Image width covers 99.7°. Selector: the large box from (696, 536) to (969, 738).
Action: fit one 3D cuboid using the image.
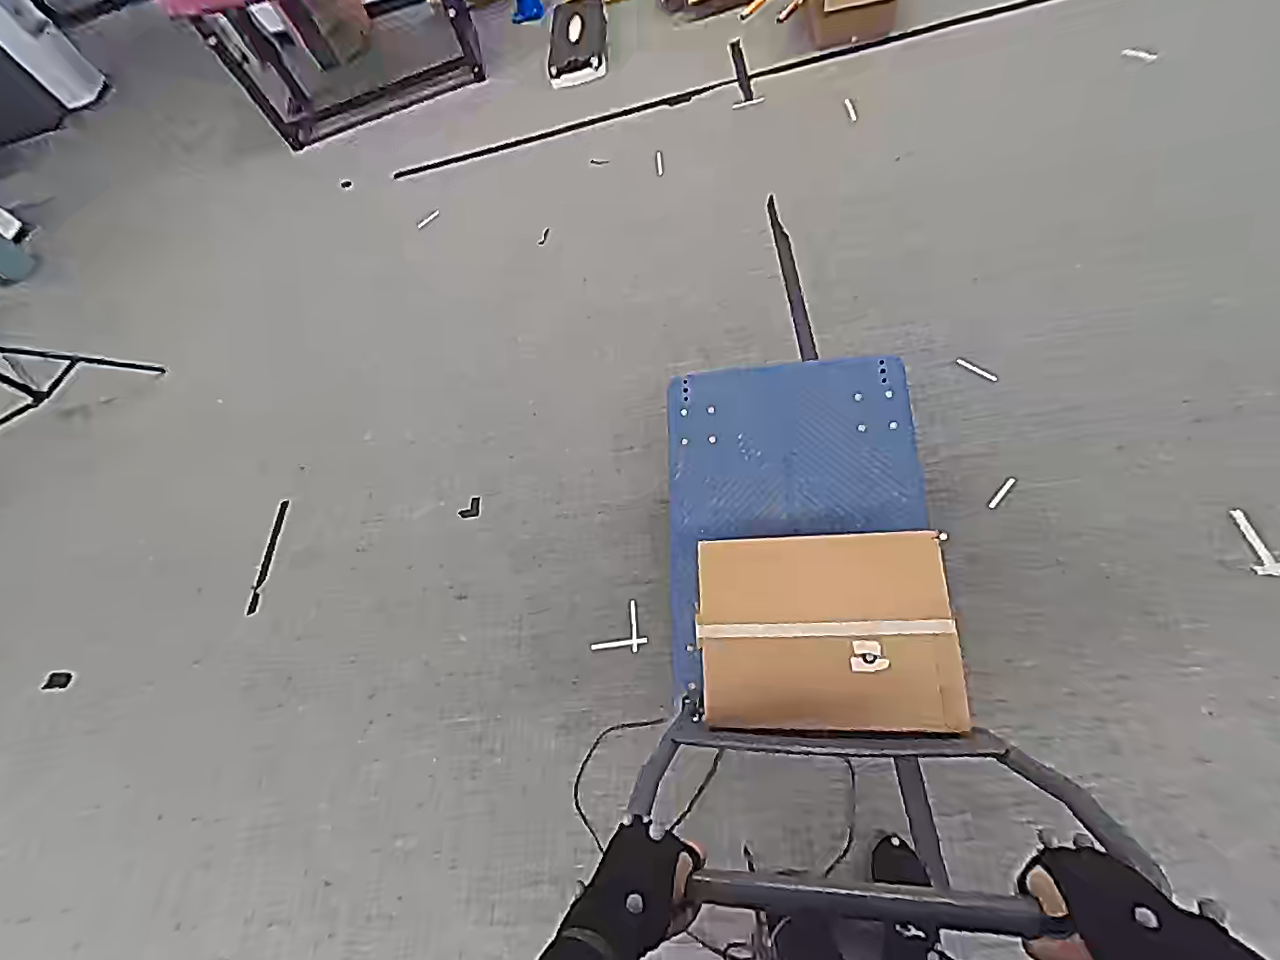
[{"bbox_3d":[0.326,0.298,1.028,0.408,0.320,0.320,-4,74,11],"label":"large box"}]
